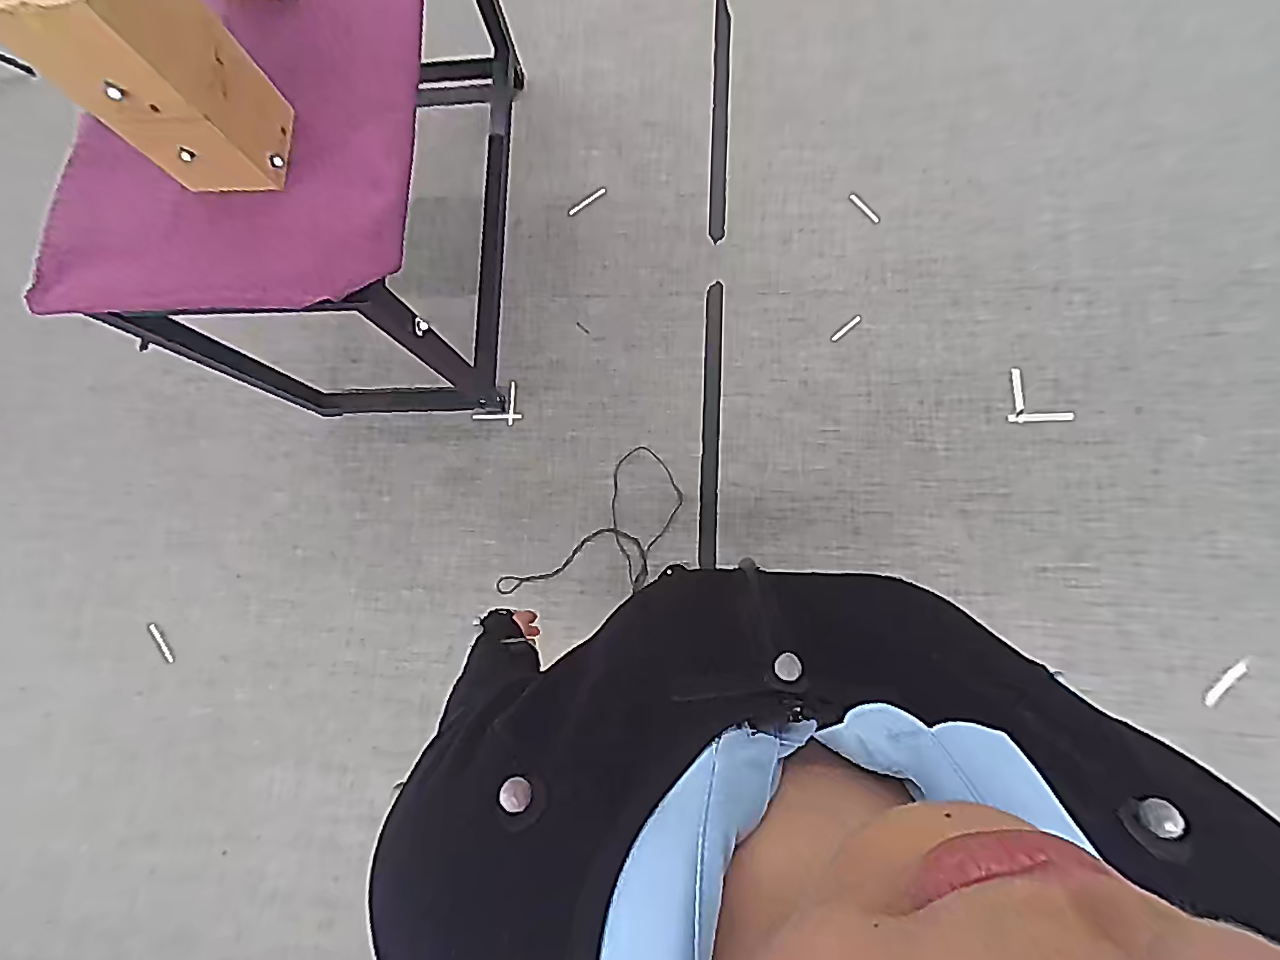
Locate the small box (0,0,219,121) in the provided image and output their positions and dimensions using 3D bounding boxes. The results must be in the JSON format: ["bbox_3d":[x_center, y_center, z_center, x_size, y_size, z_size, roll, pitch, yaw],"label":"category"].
[{"bbox_3d":[-0.727,-0.636,0.742,0.168,0.176,0.179,0,80,4],"label":"small box"}]

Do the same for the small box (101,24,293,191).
[{"bbox_3d":[-0.724,-0.611,0.905,0.179,0.176,0.168,1,80,5],"label":"small box"}]
